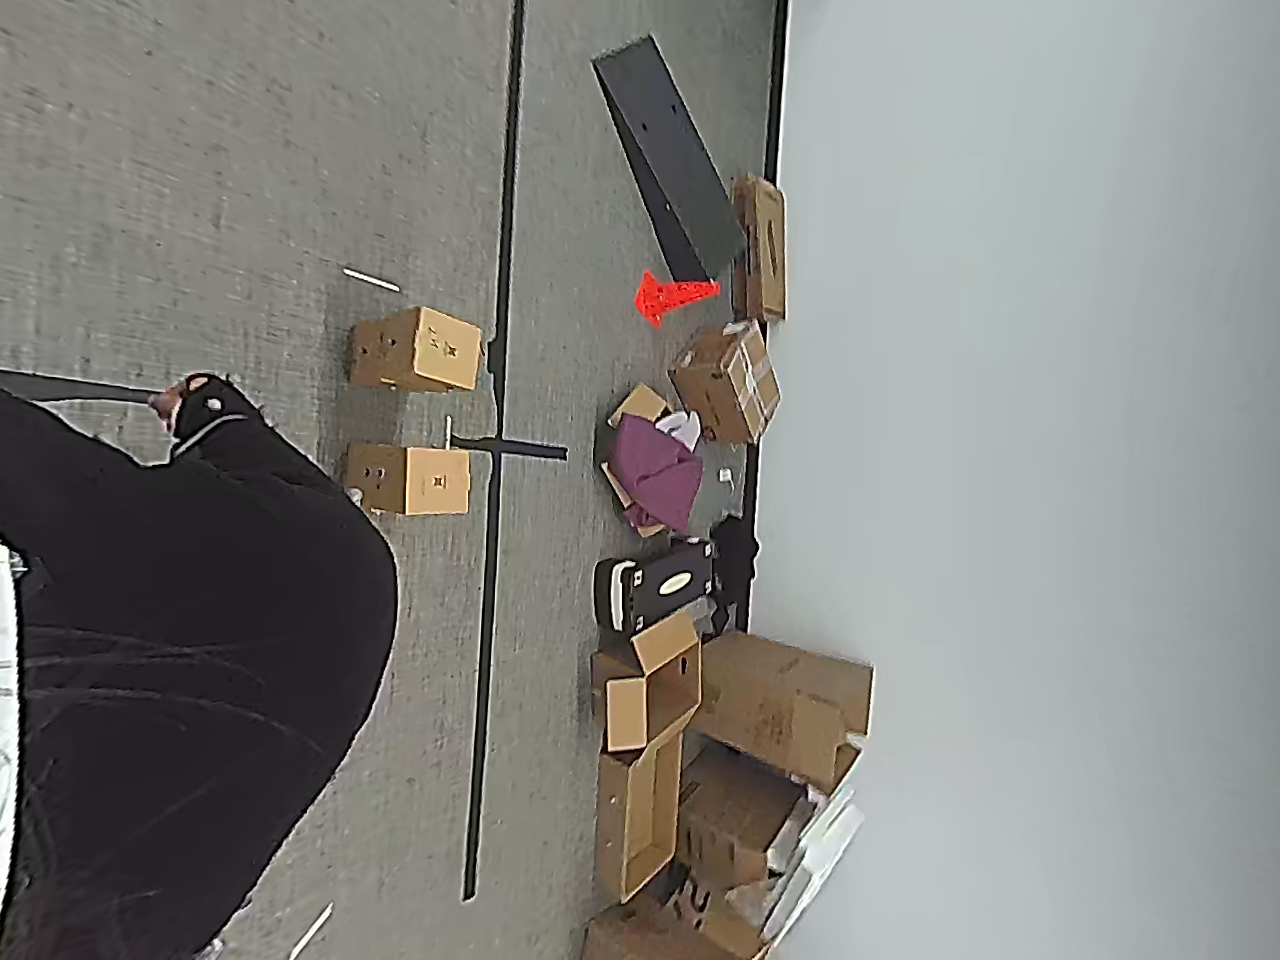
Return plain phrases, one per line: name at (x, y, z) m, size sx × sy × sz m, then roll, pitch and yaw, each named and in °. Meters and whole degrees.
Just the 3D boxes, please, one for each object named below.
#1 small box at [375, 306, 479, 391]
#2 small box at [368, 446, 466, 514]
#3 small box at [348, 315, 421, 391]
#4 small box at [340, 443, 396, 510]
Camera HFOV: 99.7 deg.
small box at (-0.547, -0.330, 1.394) m, size 0.179 × 0.176 × 0.168 m, roll 11°, pitch 84°, yaw -52°
small box at (-0.575, -0.002, 1.400) m, size 0.179 × 0.176 × 0.168 m, roll 0°, pitch 92°, yaw -51°
small box at (-0.681, -0.341, 1.492) m, size 0.179 × 0.176 × 0.168 m, roll 3°, pitch 91°, yaw -52°
small box at (-0.705, -0.007, 1.497) m, size 0.168 × 0.176 × 0.179 m, roll 8°, pitch 88°, yaw -52°
